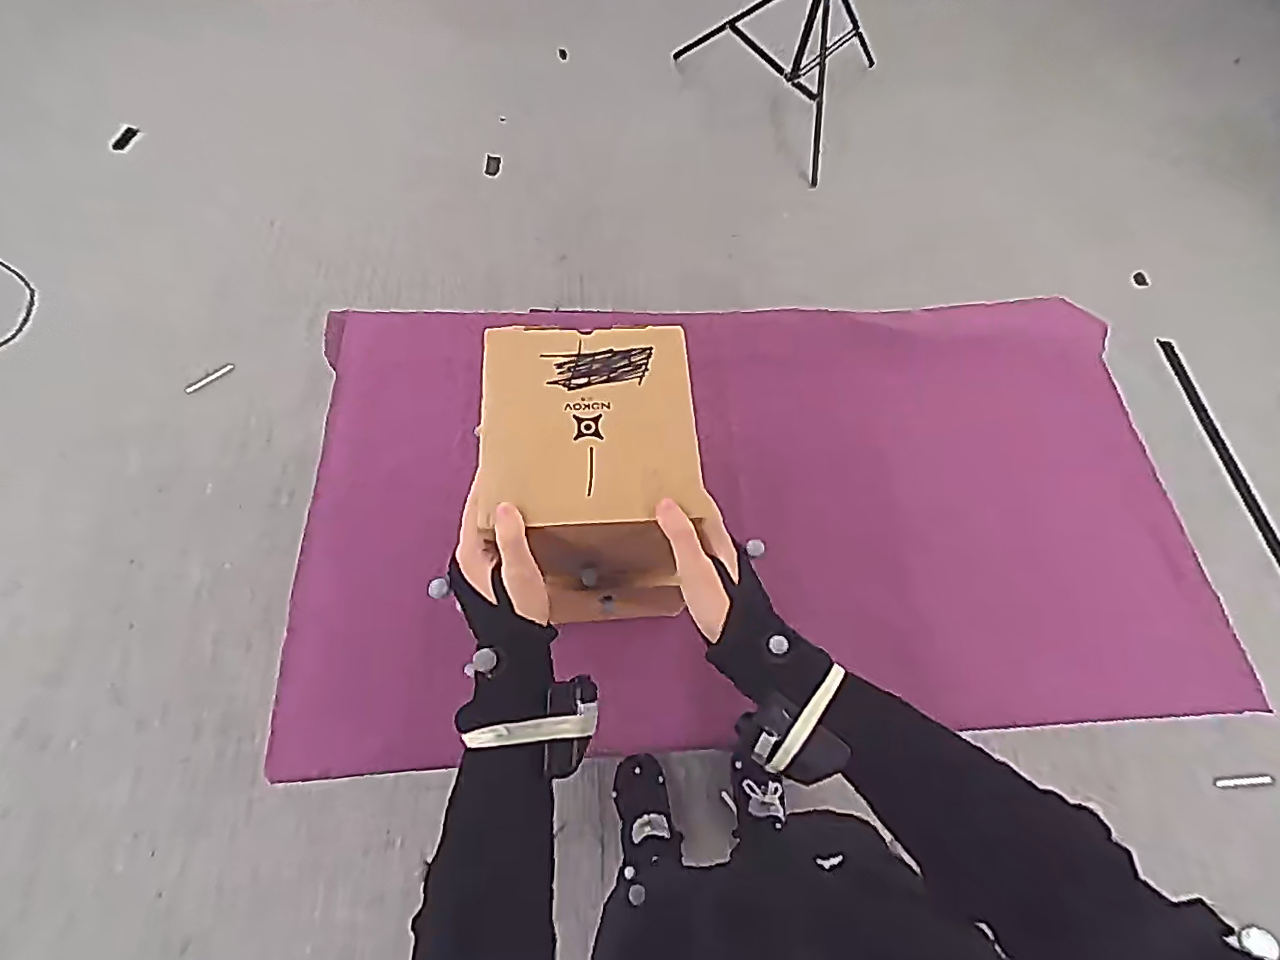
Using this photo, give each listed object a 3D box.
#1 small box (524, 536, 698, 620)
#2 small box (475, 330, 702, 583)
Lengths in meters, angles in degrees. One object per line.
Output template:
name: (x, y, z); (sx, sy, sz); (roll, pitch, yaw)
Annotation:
small box: (-0.039, 0.067, 0.637); (0.179, 0.176, 0.168); (-3, 66, -5)
small box: (-0.046, -0.014, 0.493); (0.168, 0.176, 0.179); (-2, 67, -5)
